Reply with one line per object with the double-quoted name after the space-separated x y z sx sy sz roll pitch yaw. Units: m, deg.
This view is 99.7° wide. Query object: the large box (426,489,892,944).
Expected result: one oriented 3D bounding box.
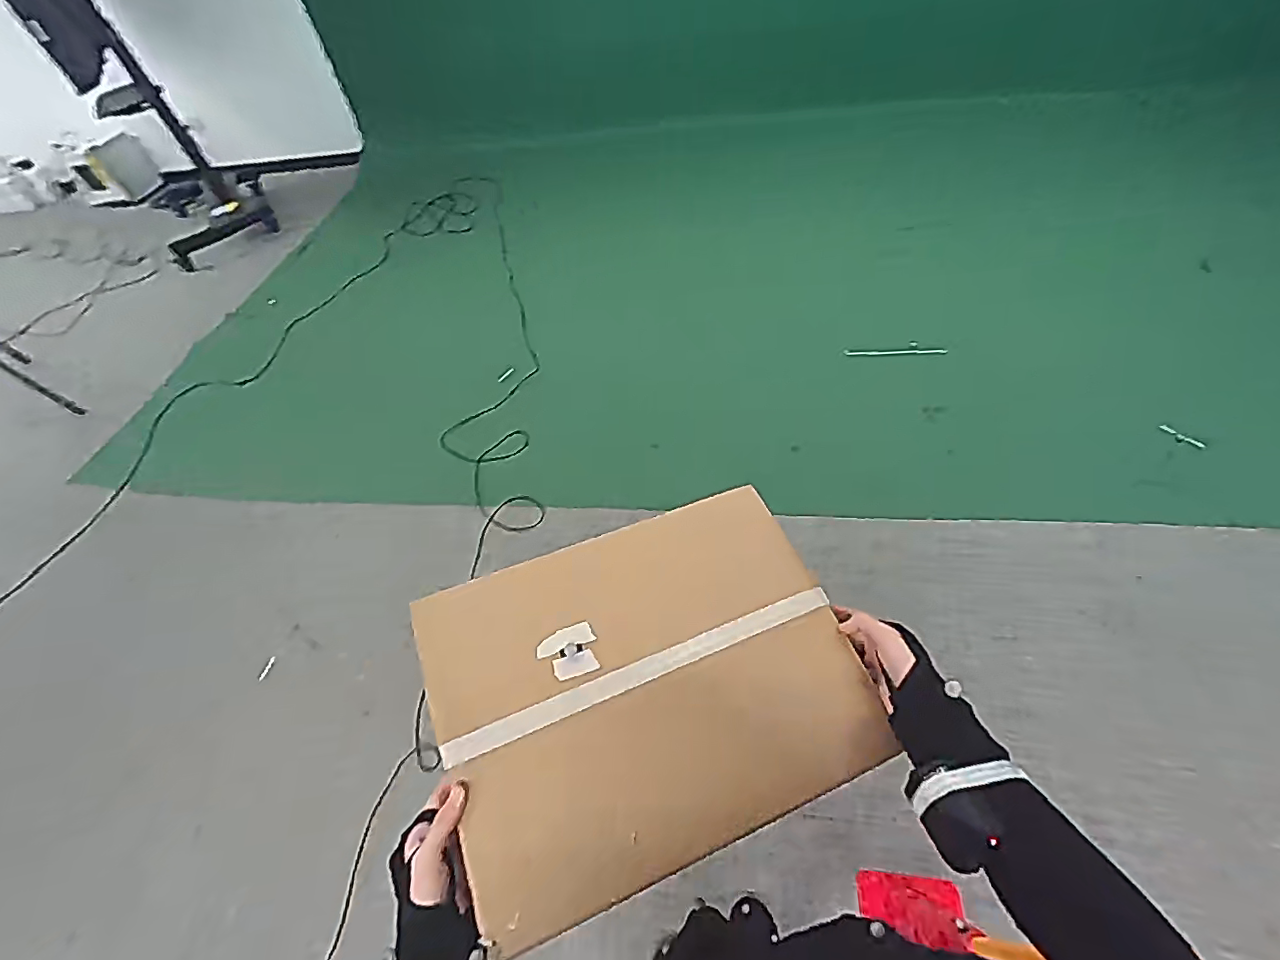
0.006 0.266 0.679 0.408 0.320 0.320 -18 61 -13 "large box"
